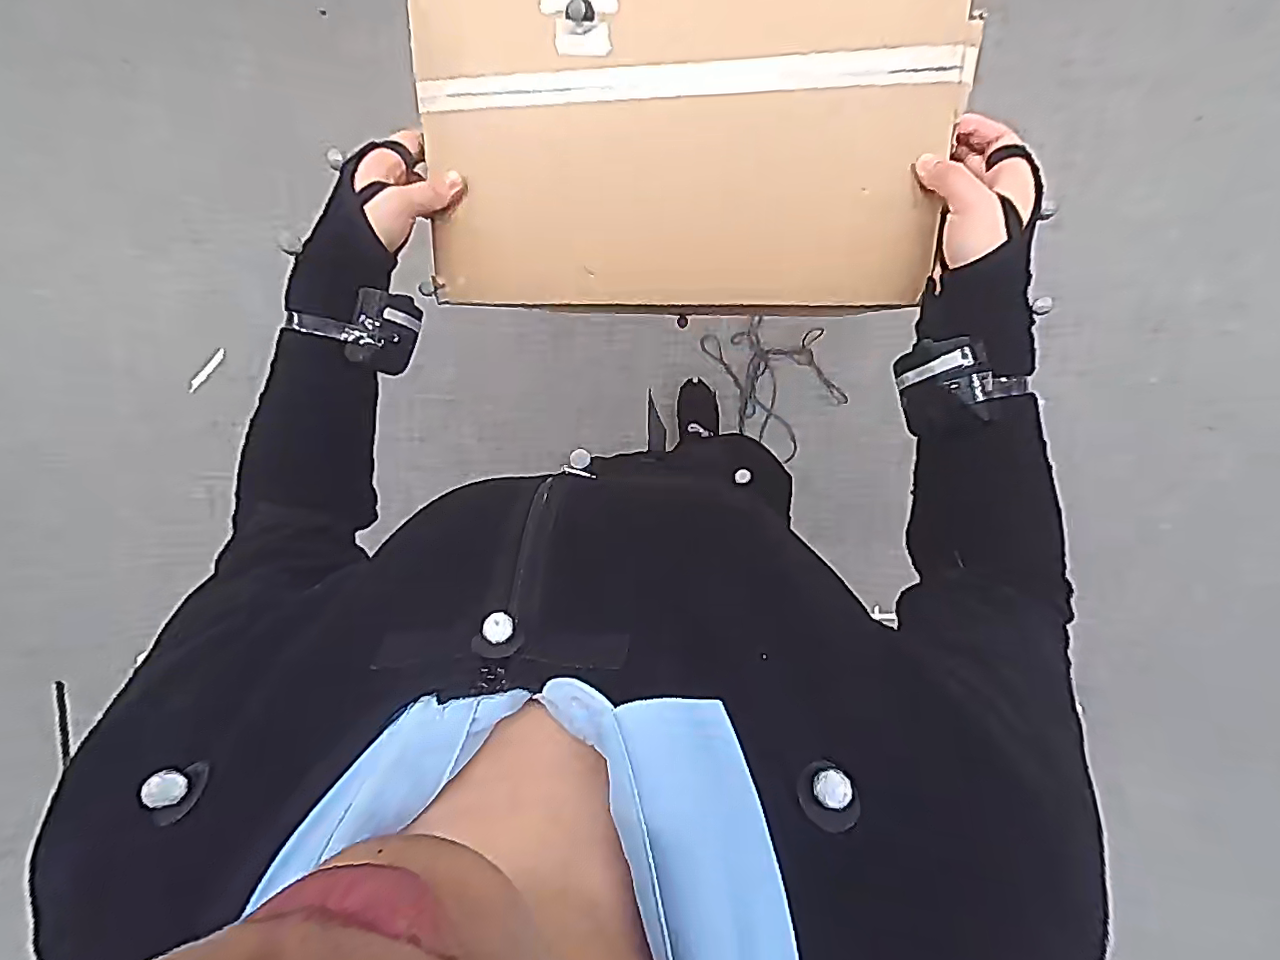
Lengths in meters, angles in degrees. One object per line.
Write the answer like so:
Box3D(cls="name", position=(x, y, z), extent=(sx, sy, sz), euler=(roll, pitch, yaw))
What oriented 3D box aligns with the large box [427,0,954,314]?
Box3D(cls="large box", position=(0.052, -0.338, 0.560), extent=(0.408, 0.320, 0.320), euler=(3, 104, 10))
